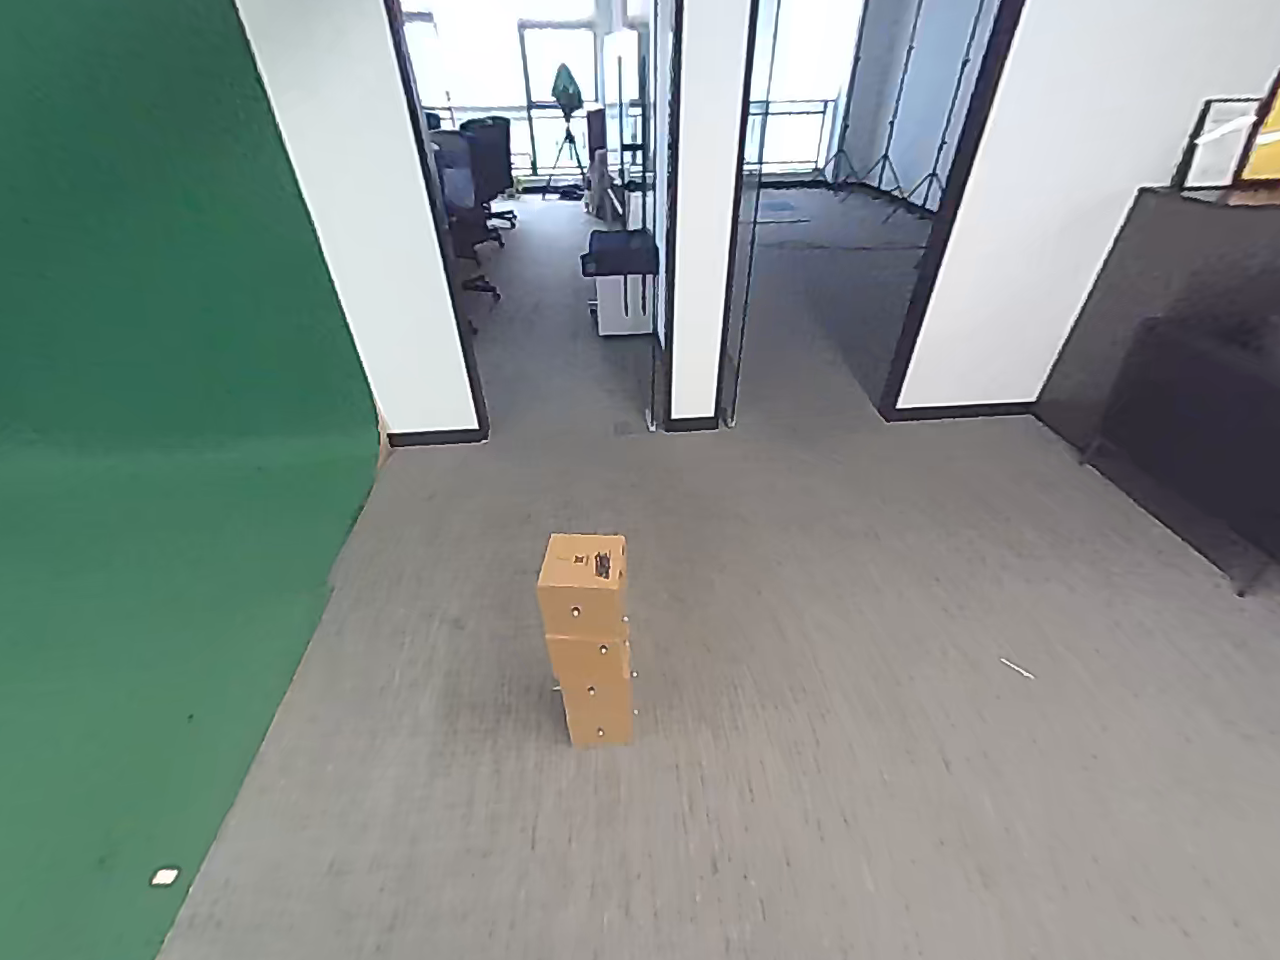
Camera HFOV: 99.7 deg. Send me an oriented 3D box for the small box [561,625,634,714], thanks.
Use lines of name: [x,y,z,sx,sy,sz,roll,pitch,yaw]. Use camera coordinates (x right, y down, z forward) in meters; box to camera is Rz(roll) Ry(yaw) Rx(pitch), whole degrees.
small box: [-0.107,0.509,1.448,0.179,0.176,0.168,-2,38,0]

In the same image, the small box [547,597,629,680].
small box: [-0.122,0.380,1.349,0.179,0.176,0.168,1,38,2]

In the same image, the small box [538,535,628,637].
small box: [-0.122,0.247,1.252,0.179,0.176,0.168,1,37,5]
